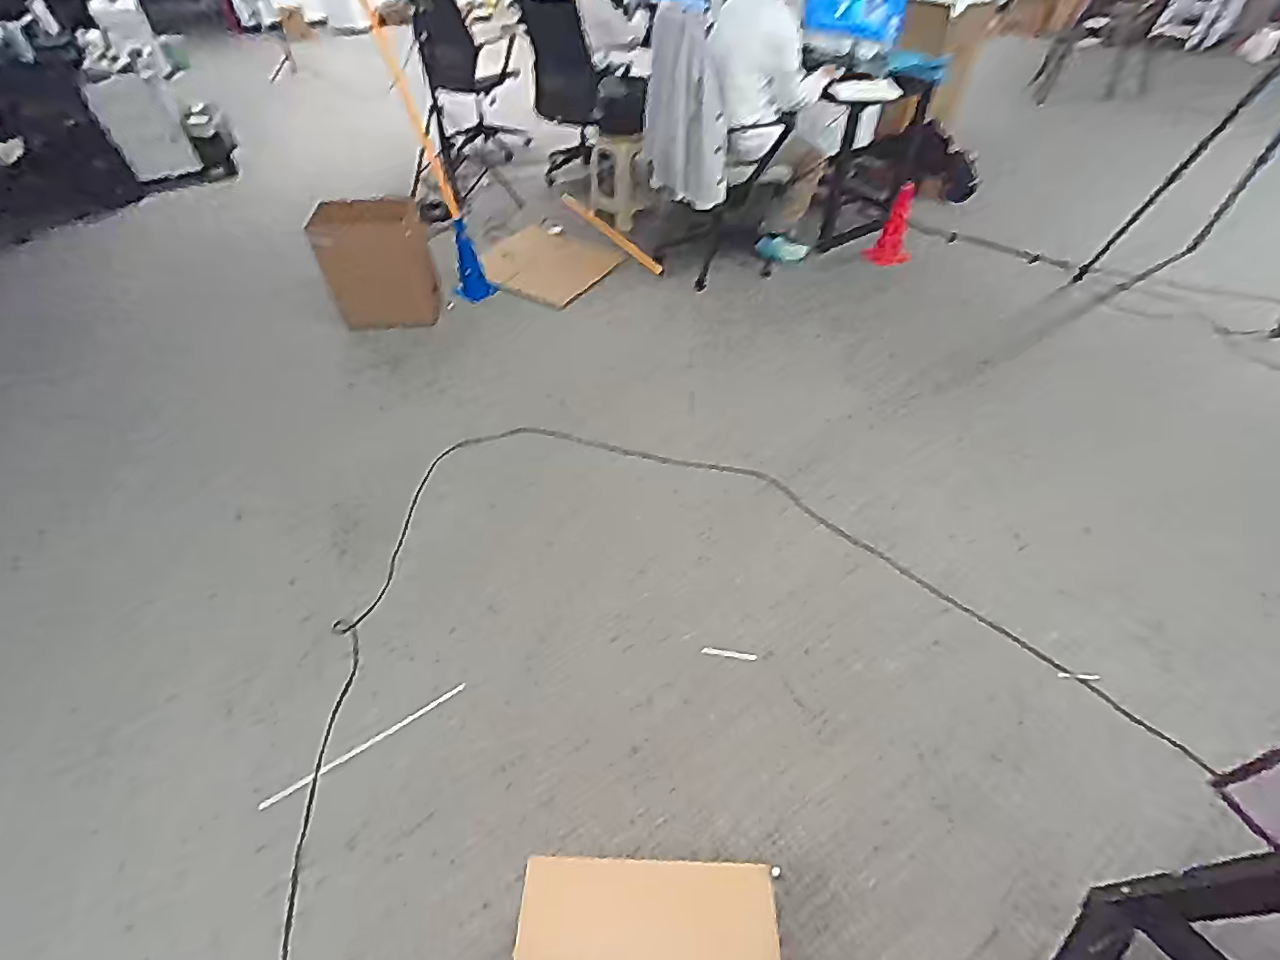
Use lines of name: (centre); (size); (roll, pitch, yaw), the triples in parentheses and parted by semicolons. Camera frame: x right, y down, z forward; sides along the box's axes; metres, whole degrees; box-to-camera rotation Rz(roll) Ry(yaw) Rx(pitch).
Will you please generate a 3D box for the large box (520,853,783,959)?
large box: (0.015, 0.840, 0.905); (0.408, 0.320, 0.320); (1, 49, 1)
